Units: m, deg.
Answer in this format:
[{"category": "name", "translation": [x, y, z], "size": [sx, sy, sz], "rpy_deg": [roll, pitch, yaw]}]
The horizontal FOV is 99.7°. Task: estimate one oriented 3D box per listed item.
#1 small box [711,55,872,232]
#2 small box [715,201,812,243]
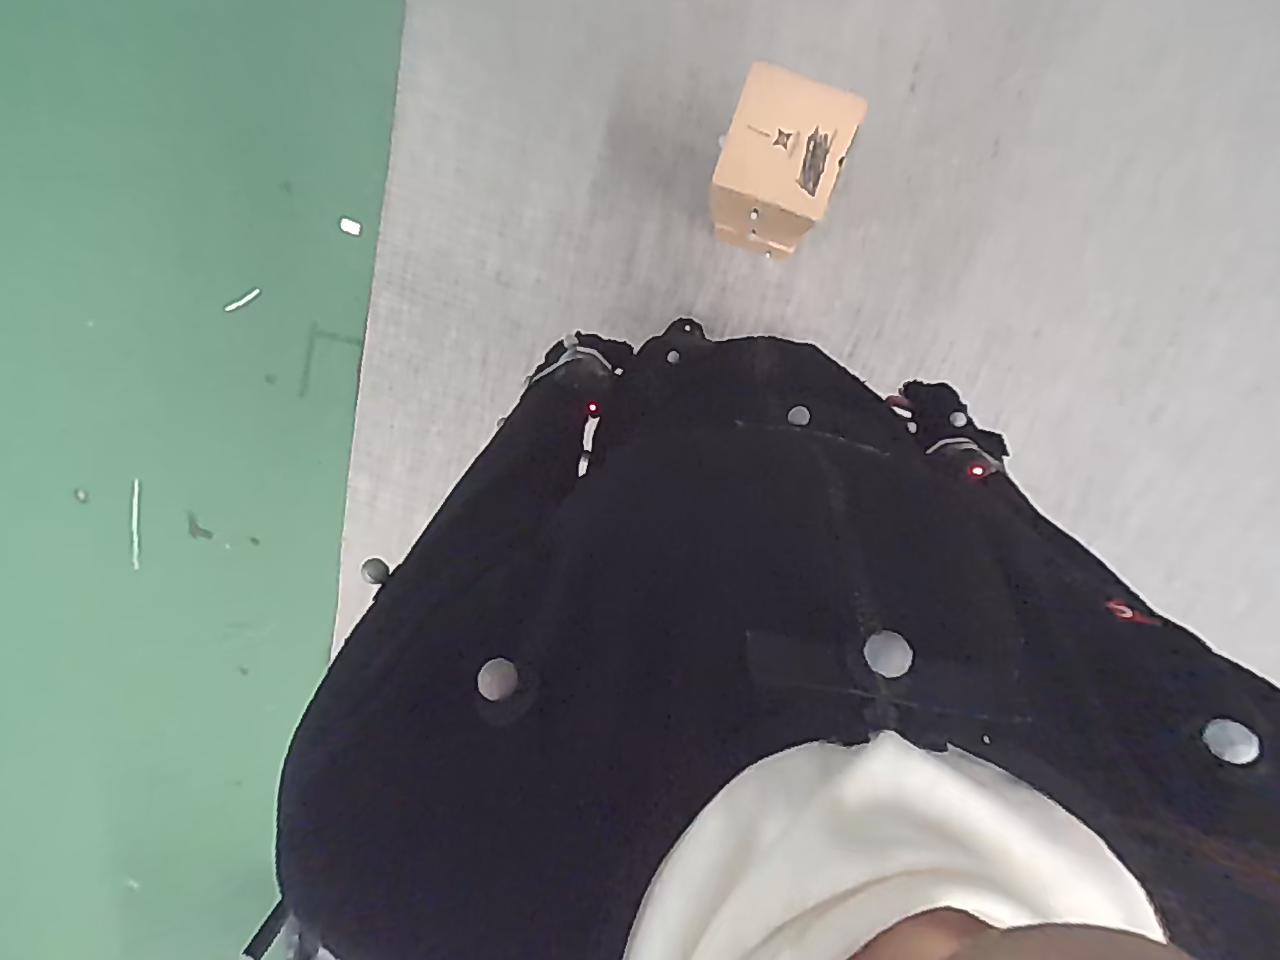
[{"category": "small box", "translation": [0.225, -0.512, 0.854], "size": [0.179, 0.176, 0.168], "rpy_deg": [23, 106, 0]}, {"category": "small box", "translation": [0.252, -0.559, 1.013], "size": [0.179, 0.176, 0.168], "rpy_deg": [21, 108, 0]}]
